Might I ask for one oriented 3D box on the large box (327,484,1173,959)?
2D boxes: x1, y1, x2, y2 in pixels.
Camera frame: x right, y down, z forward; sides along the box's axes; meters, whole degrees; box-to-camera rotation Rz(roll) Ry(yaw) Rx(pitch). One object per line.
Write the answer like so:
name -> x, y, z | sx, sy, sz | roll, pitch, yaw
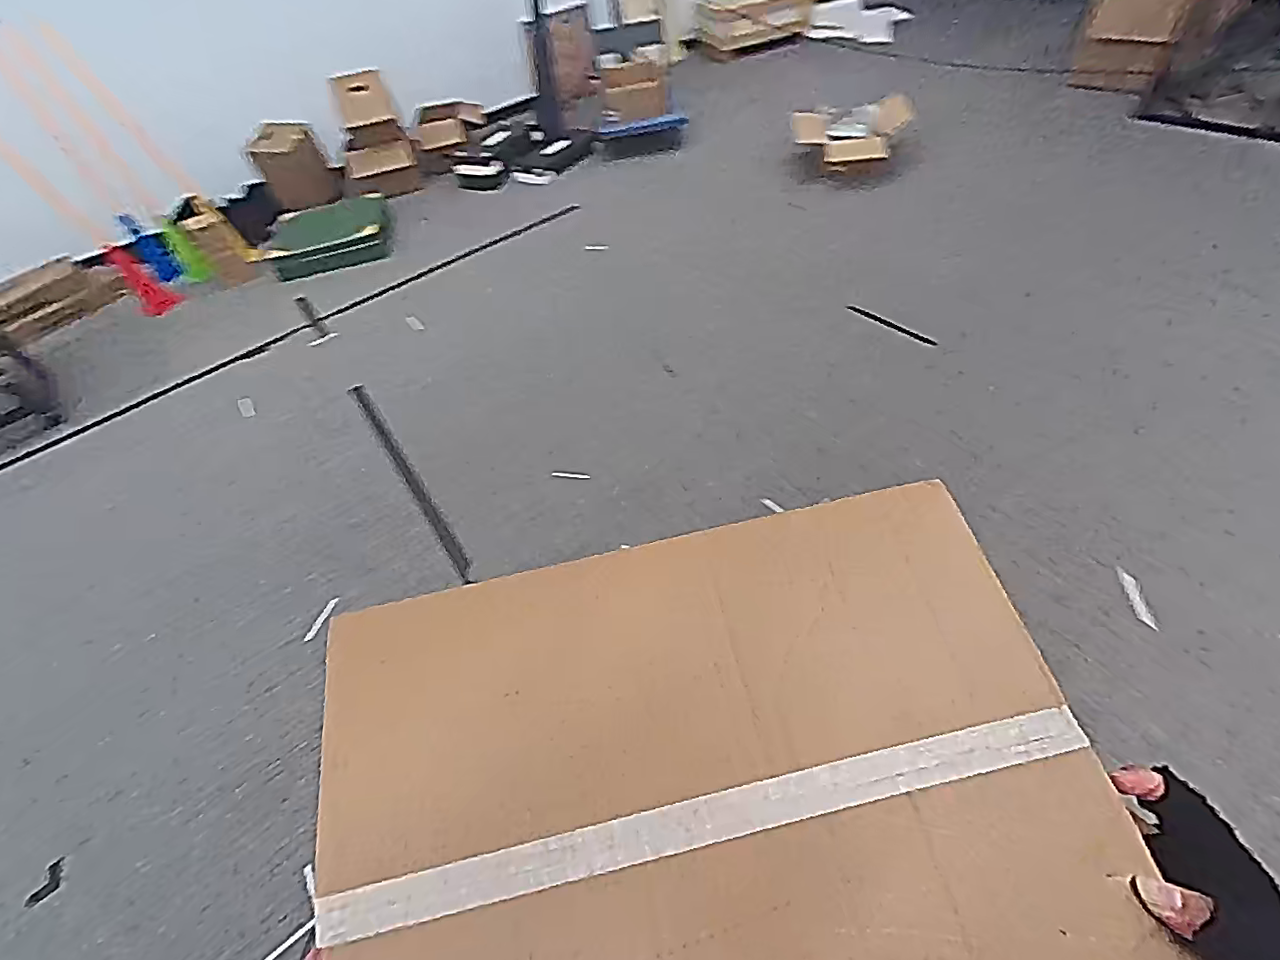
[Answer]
large box -> 0.039, 0.251, 0.423 | 0.408, 0.320, 0.320 | -14, 63, -3
